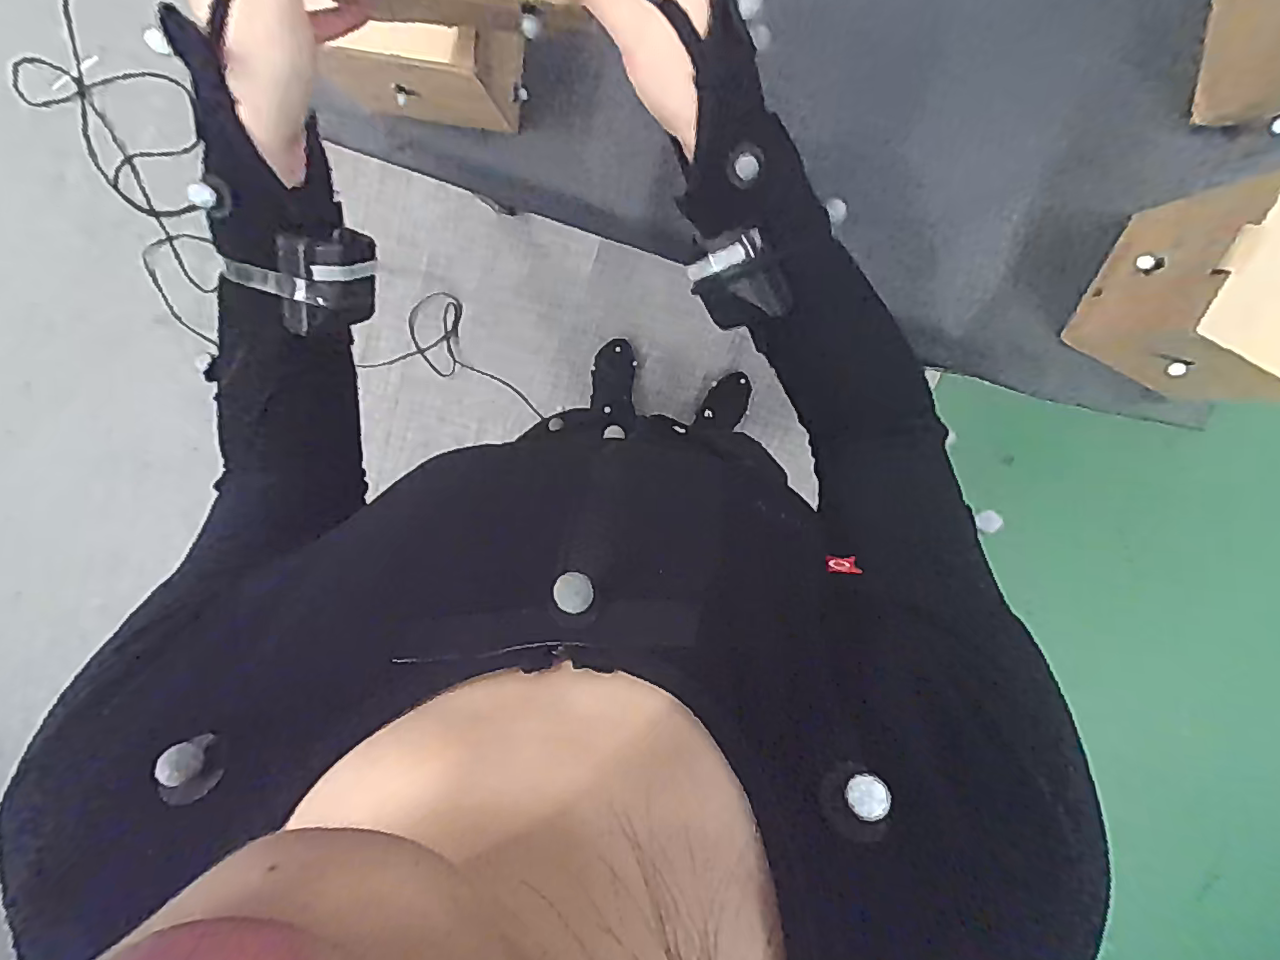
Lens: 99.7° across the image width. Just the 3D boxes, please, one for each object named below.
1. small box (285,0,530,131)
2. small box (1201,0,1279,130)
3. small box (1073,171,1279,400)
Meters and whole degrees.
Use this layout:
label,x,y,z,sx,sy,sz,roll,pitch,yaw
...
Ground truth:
label,x,y,z,sx,sy,sz,roll,pitch,yaw
small box,-0.213,-0.469,0.532,0.179,0.176,0.168,8,106,-1
small box,0.707,-0.463,0.514,0.168,0.176,0.179,-1,107,4
small box,0.638,-0.192,0.587,0.179,0.176,0.168,25,101,-5
